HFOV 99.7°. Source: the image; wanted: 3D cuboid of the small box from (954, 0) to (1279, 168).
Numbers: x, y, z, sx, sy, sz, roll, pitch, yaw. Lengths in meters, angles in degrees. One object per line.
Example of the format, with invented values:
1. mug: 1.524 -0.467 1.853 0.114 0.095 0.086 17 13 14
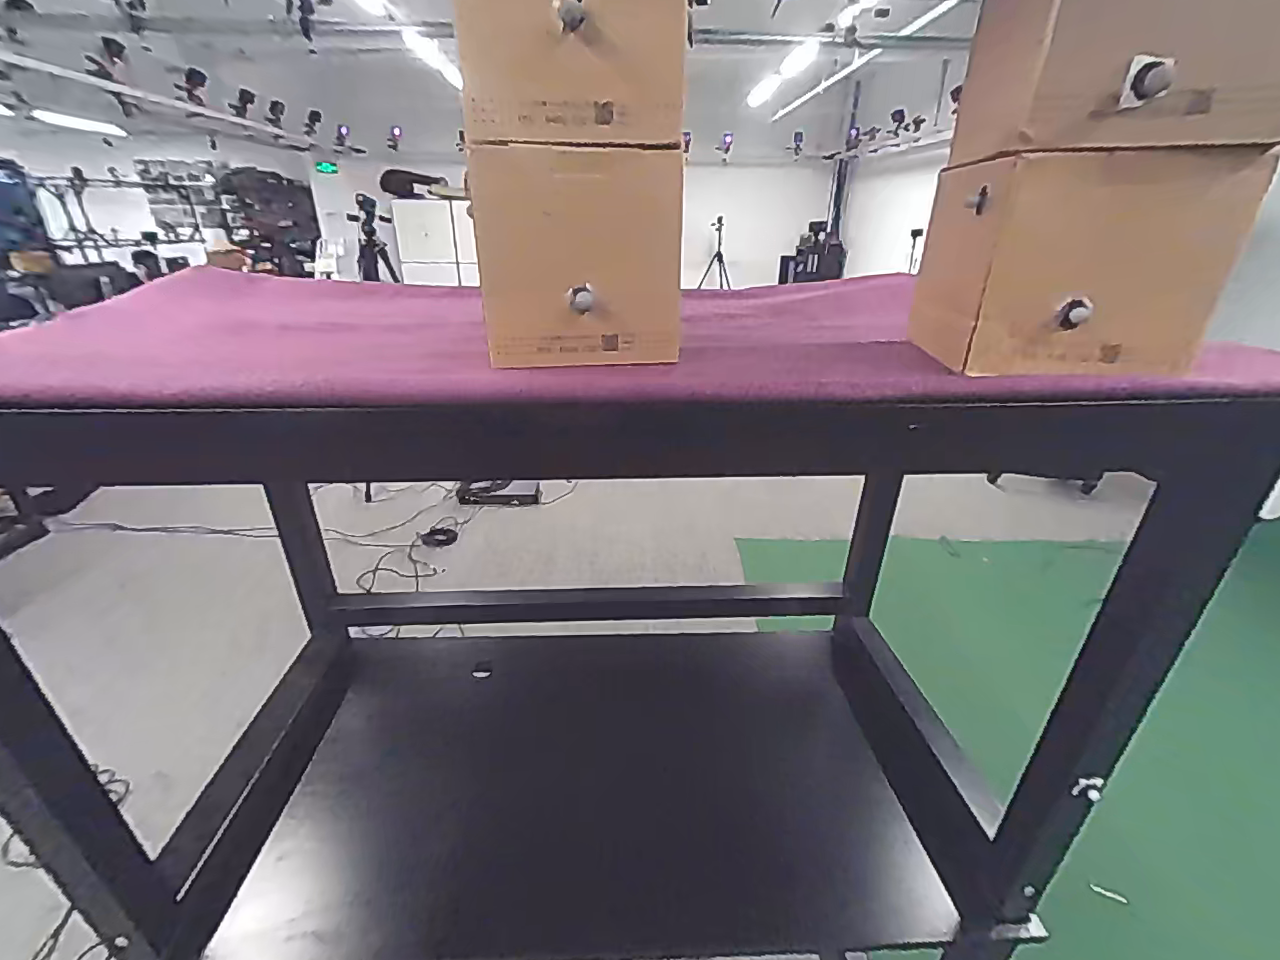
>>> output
1. small box: 0.362 -0.327 0.406 0.168 0.176 0.179 4 28 11

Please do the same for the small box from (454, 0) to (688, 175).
1. small box: -0.051 -0.355 0.447 0.168 0.176 0.179 -1 25 -4

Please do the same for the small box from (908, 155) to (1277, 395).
1. small box: 0.362 -0.185 0.484 0.168 0.176 0.179 4 27 7
